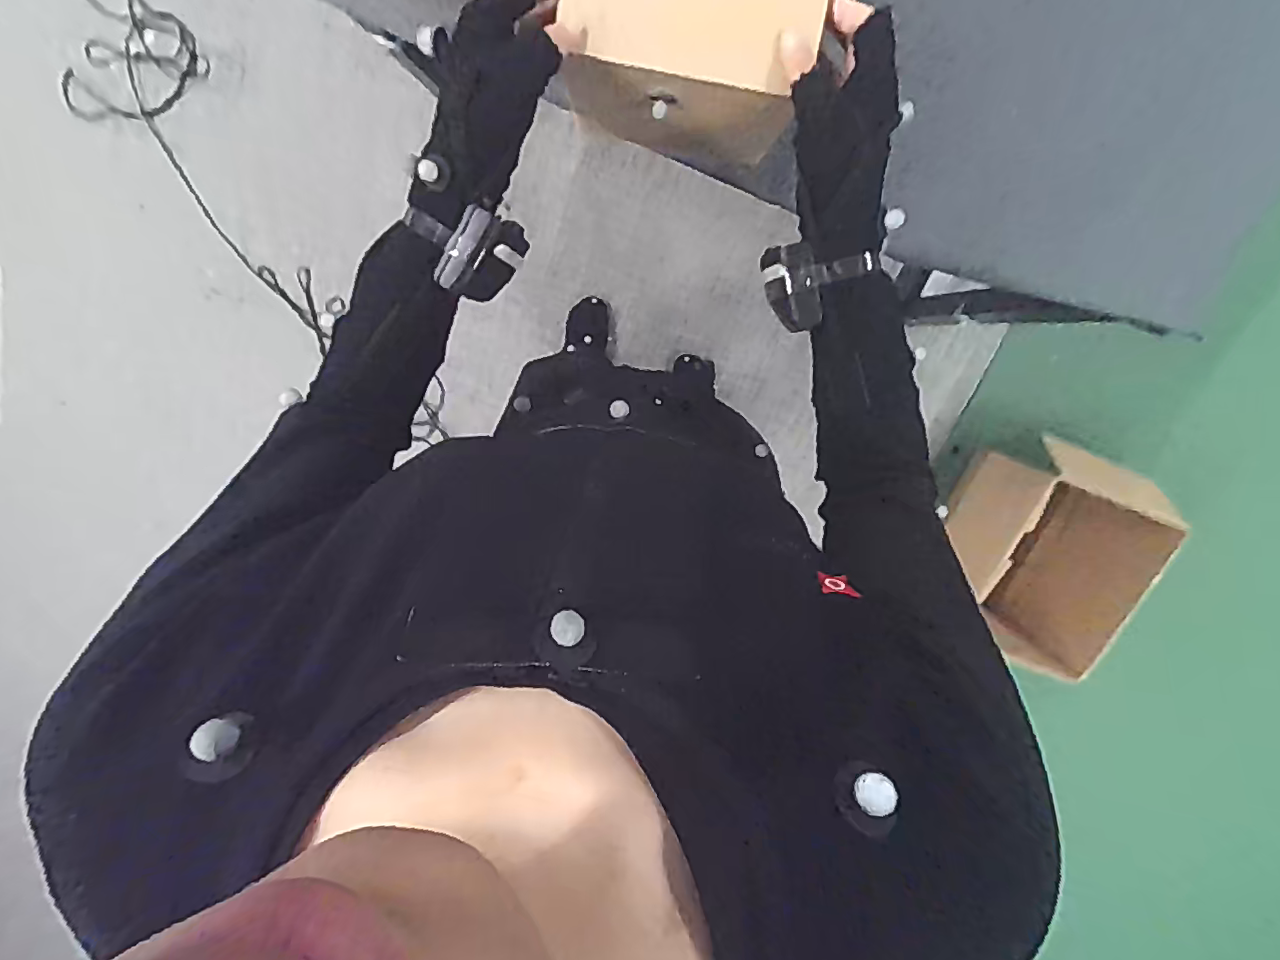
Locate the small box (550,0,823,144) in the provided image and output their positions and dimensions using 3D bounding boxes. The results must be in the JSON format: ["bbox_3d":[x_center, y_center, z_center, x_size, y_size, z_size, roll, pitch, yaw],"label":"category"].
[{"bbox_3d":[0.039,-0.379,0.409,0.179,0.176,0.168,9,108,-4],"label":"small box"}]
